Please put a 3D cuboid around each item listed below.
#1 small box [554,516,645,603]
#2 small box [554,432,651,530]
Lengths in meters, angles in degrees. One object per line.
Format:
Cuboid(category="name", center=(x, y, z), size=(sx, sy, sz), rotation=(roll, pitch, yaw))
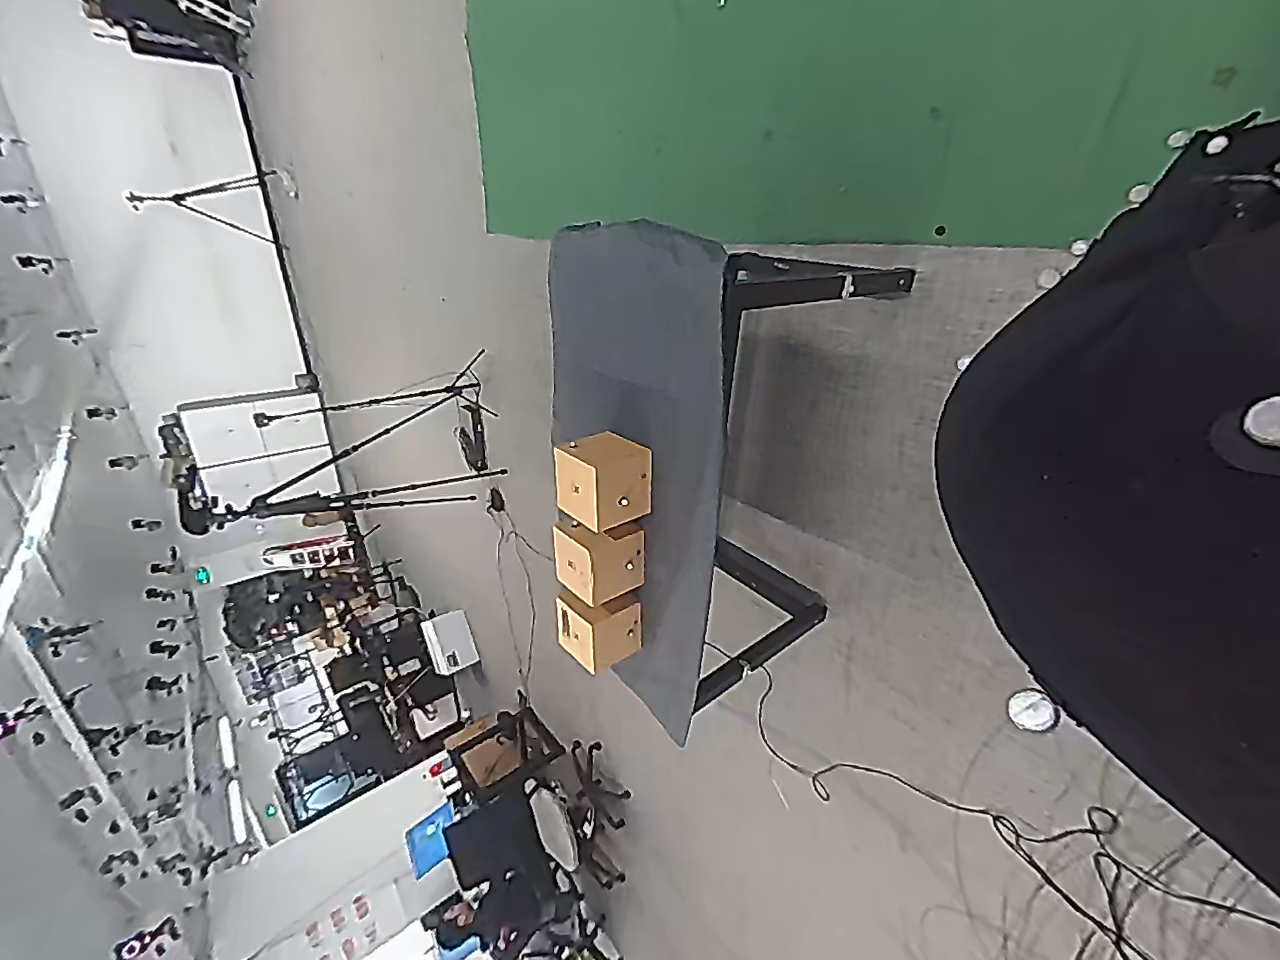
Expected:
Cuboid(category="small box", center=(-0.105, 0.188, 1.415), size=(0.179, 0.176, 0.168), rotation=(25, 125, 45))
Cuboid(category="small box", center=(-0.086, -0.007, 1.306), size=(0.179, 0.176, 0.168), rotation=(26, 125, 45))
